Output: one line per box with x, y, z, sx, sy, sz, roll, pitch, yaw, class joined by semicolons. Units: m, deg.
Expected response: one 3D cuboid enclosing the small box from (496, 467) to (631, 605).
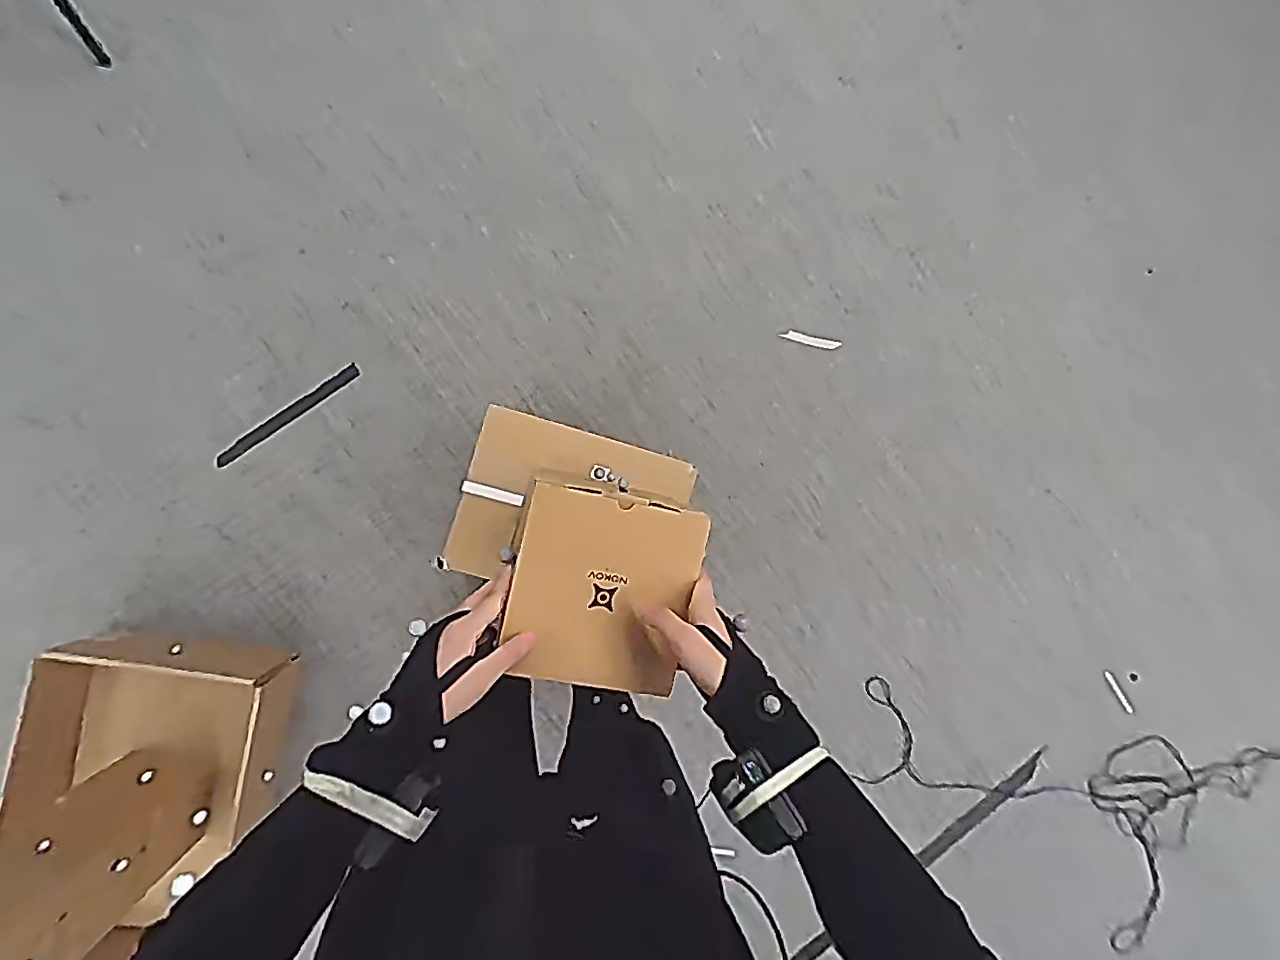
-0.089;0.087;0.756;0.168;0.176;0.179;15;89;-9;small box

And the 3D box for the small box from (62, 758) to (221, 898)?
-0.985;0.674;1.066;0.179;0.176;0.168;11;89;-9;small box

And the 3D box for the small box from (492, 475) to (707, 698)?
-0.048;0.098;0.567;0.168;0.176;0.179;13;91;-11;small box
